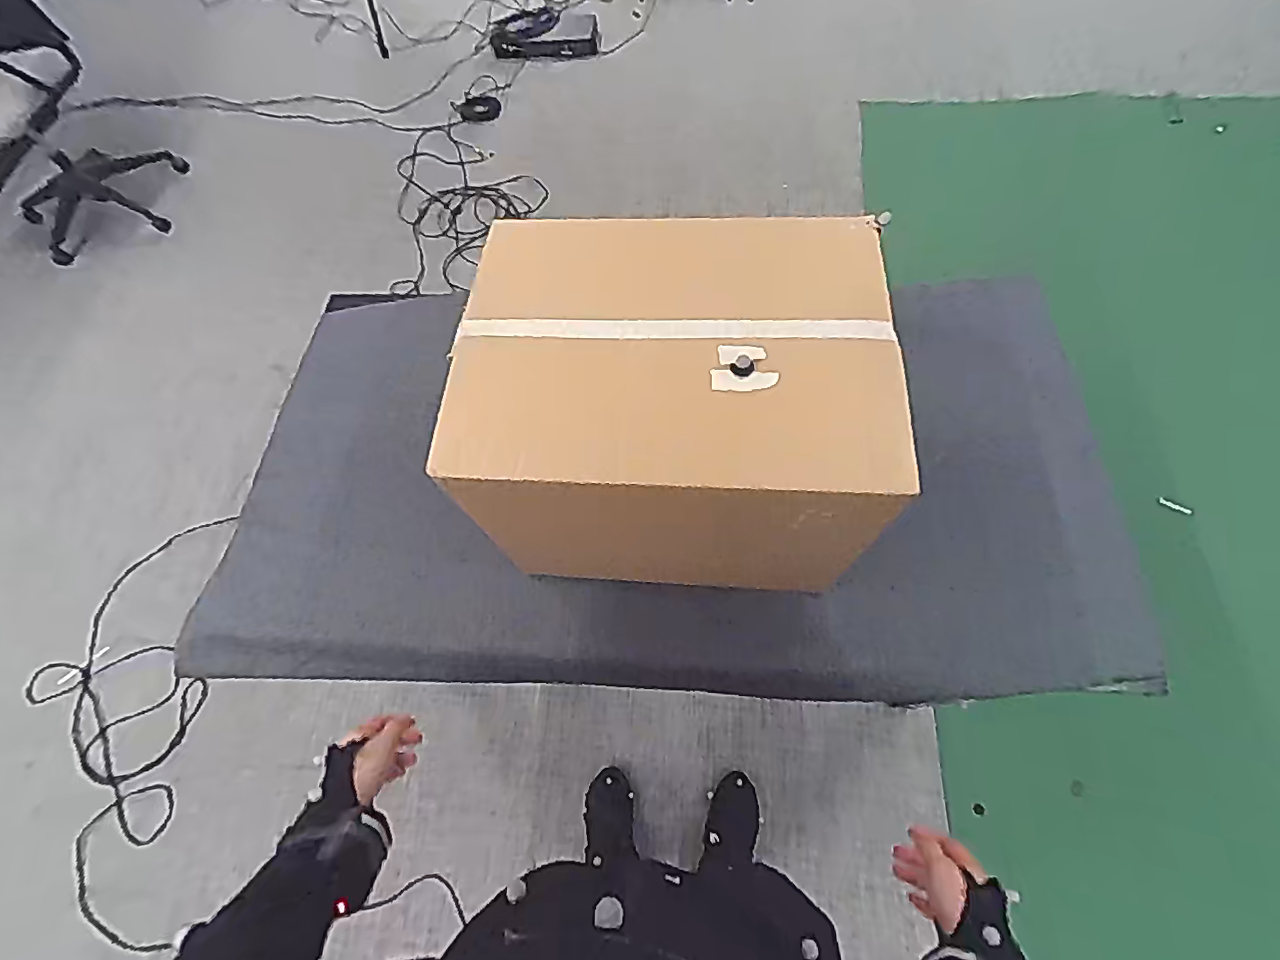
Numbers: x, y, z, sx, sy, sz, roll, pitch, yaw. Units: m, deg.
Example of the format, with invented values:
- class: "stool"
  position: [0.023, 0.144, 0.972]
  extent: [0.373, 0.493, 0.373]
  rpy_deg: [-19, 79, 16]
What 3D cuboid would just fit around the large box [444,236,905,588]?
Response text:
- class: "large box"
  position: [0.039, -0.061, 0.657]
  extent: [0.408, 0.320, 0.320]
  rpy_deg: [2, 65, 5]
